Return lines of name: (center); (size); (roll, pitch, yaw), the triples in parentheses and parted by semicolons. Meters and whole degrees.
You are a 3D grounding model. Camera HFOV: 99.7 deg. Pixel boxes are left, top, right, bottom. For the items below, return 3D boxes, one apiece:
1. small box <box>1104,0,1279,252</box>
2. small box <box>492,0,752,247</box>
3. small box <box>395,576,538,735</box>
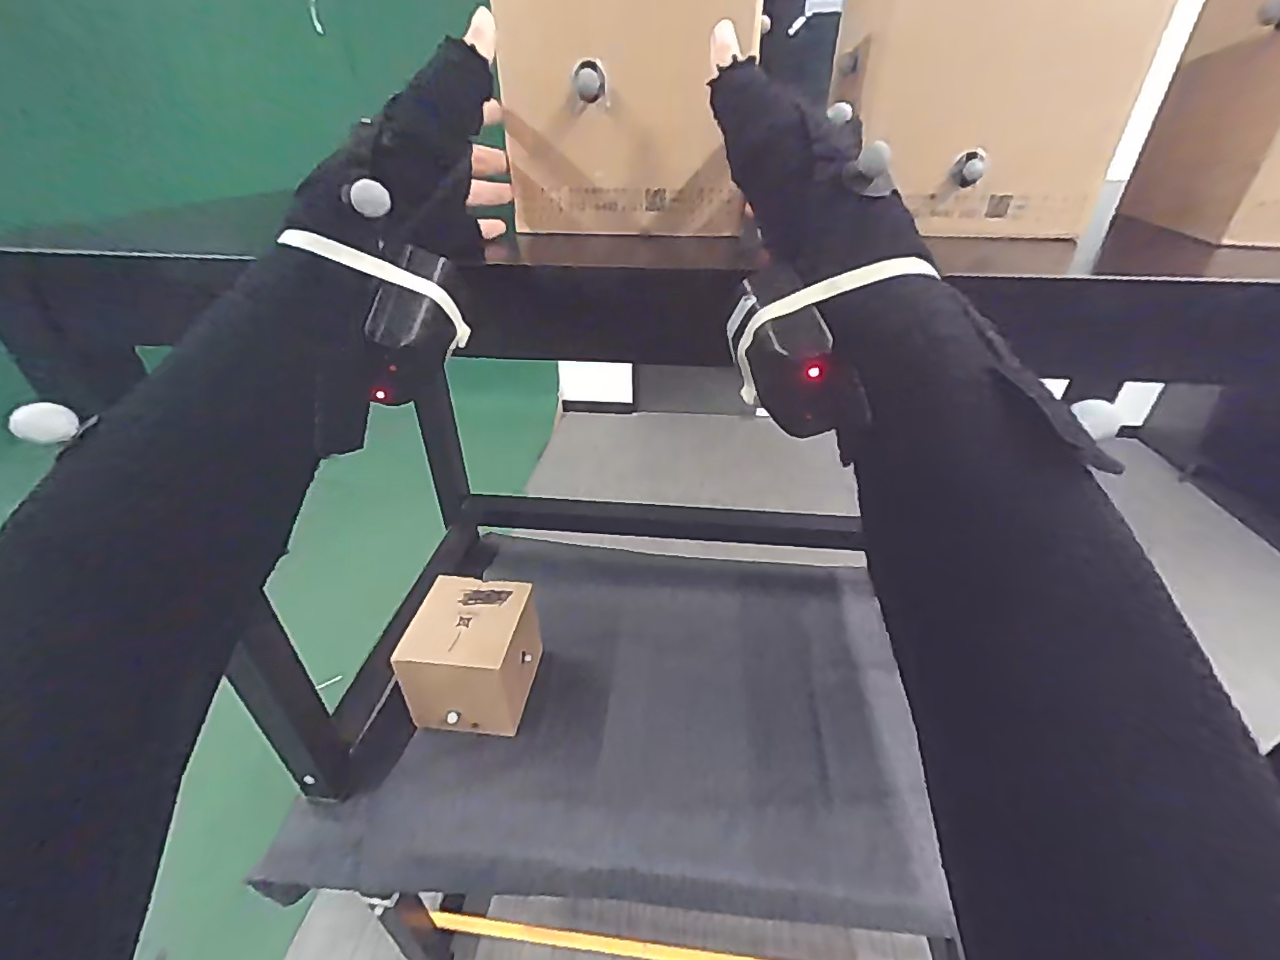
small box: (0.476, -0.252, 0.370); (0.168, 0.176, 0.179); (10, 34, 15)
small box: (-0.001, -0.288, 0.432); (0.168, 0.176, 0.179); (3, 32, 5)
small box: (-0.269, 0.284, 0.887); (0.168, 0.176, 0.179); (4, 33, 5)
